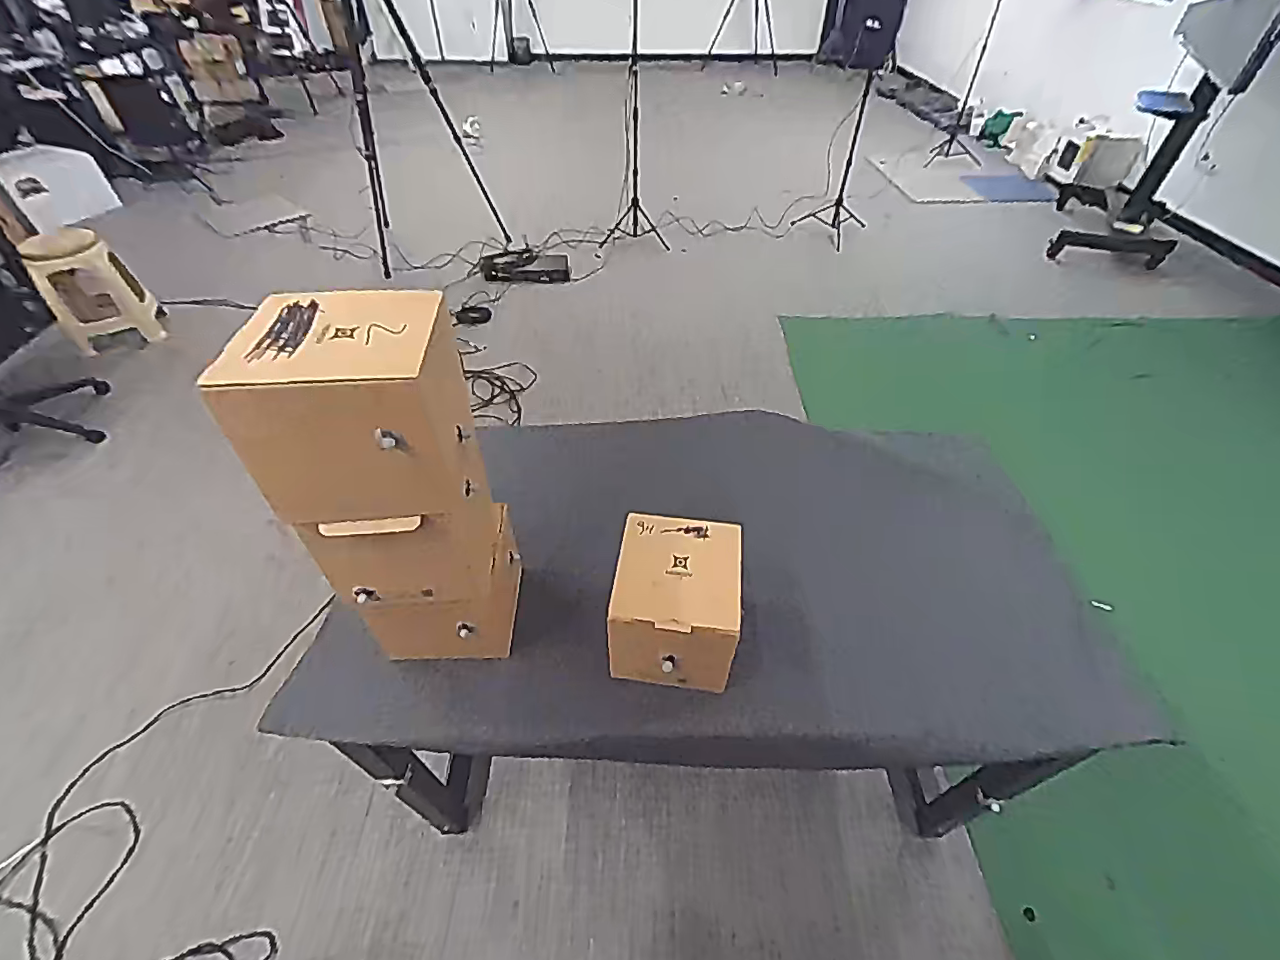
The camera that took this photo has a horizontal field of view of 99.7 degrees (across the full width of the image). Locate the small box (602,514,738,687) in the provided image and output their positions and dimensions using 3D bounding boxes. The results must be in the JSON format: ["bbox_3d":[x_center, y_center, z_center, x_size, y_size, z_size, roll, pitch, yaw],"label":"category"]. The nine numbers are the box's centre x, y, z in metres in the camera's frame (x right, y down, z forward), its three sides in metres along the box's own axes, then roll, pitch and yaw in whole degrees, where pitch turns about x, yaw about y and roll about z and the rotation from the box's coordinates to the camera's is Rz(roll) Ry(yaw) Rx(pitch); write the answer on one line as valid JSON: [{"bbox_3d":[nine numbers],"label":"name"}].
[{"bbox_3d":[0.047,0.174,0.771,0.168,0.176,0.179,5,46,6],"label":"small box"}]

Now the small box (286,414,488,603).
[{"bbox_3d":[-0.294,0.040,0.676,0.168,0.176,0.179,-4,44,-5],"label":"small box"}]

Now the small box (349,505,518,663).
[{"bbox_3d":[-0.284,0.154,0.794,0.179,0.176,0.168,-3,44,-1],"label":"small box"}]
